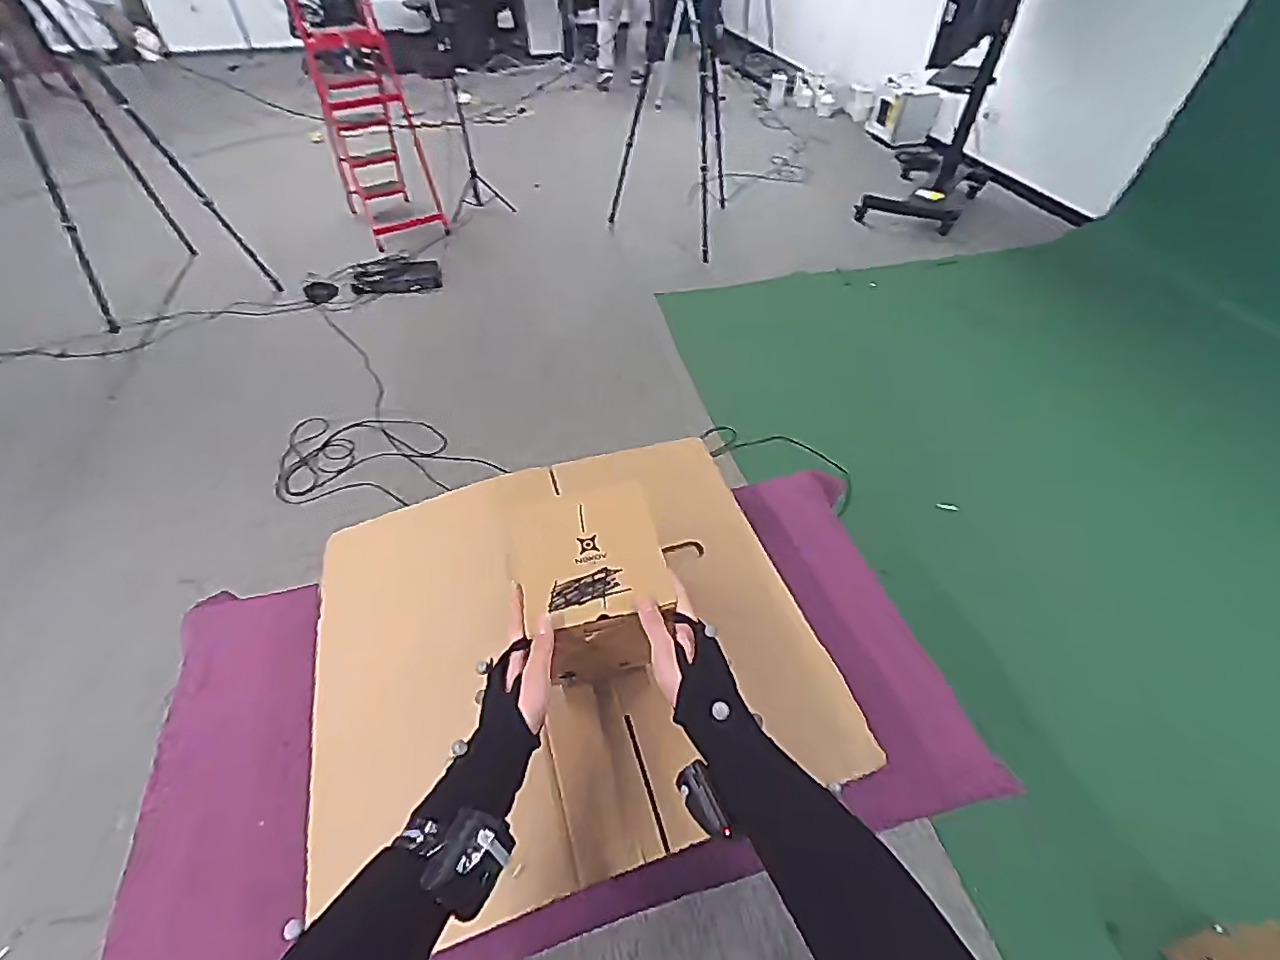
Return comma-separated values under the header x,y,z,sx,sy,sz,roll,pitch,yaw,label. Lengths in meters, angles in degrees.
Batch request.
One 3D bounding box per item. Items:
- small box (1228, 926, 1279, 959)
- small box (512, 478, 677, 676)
x,y,z,sx,sy,sz,roll,pitch,yaw,label
1.282,0.941,1.000,0.179,0.176,0.168,-9,49,-9,small box
-0.057,0.127,0.672,0.168,0.176,0.179,-10,53,-9,small box
